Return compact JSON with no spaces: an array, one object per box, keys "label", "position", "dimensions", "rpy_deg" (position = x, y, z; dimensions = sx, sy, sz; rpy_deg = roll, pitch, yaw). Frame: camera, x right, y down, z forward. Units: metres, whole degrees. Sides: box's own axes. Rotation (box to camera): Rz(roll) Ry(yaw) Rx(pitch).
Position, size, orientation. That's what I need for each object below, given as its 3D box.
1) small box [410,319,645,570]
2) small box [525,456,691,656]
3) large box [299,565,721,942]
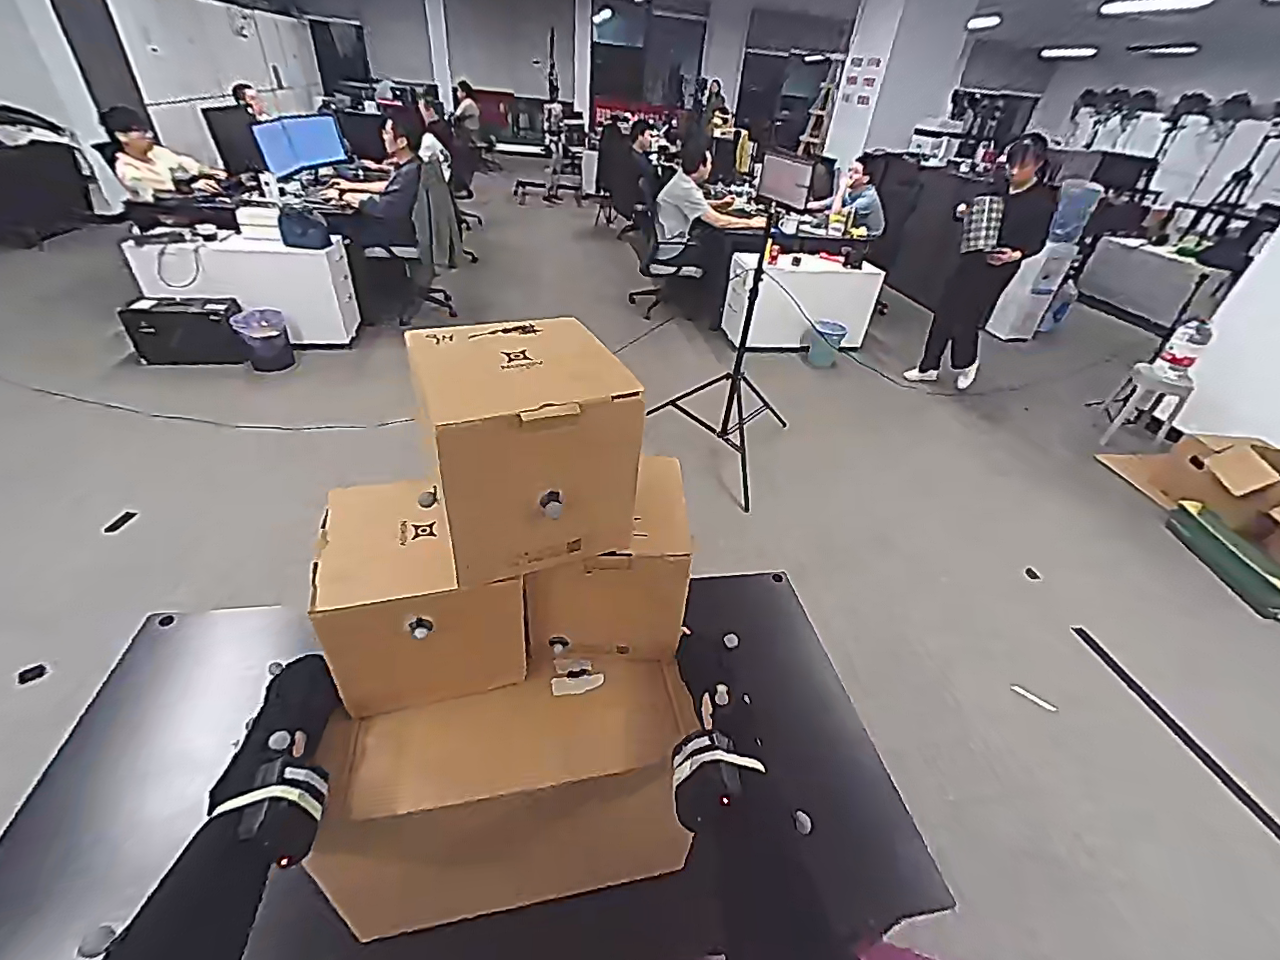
[{"label":"small box","position":[-0.108,-0.034,0.512],"dimensions":[0.168,0.176,0.179],"rpy_deg":[-12,40,-23]},{"label":"small box","position":[-0.036,0.086,0.634],"dimensions":[0.168,0.176,0.179],"rpy_deg":[3,35,-4]},{"label":"large box","position":[-0.155,0.320,0.711],"dimensions":[0.408,0.320,0.320],"rpy_deg":[-4,37,-14]}]
